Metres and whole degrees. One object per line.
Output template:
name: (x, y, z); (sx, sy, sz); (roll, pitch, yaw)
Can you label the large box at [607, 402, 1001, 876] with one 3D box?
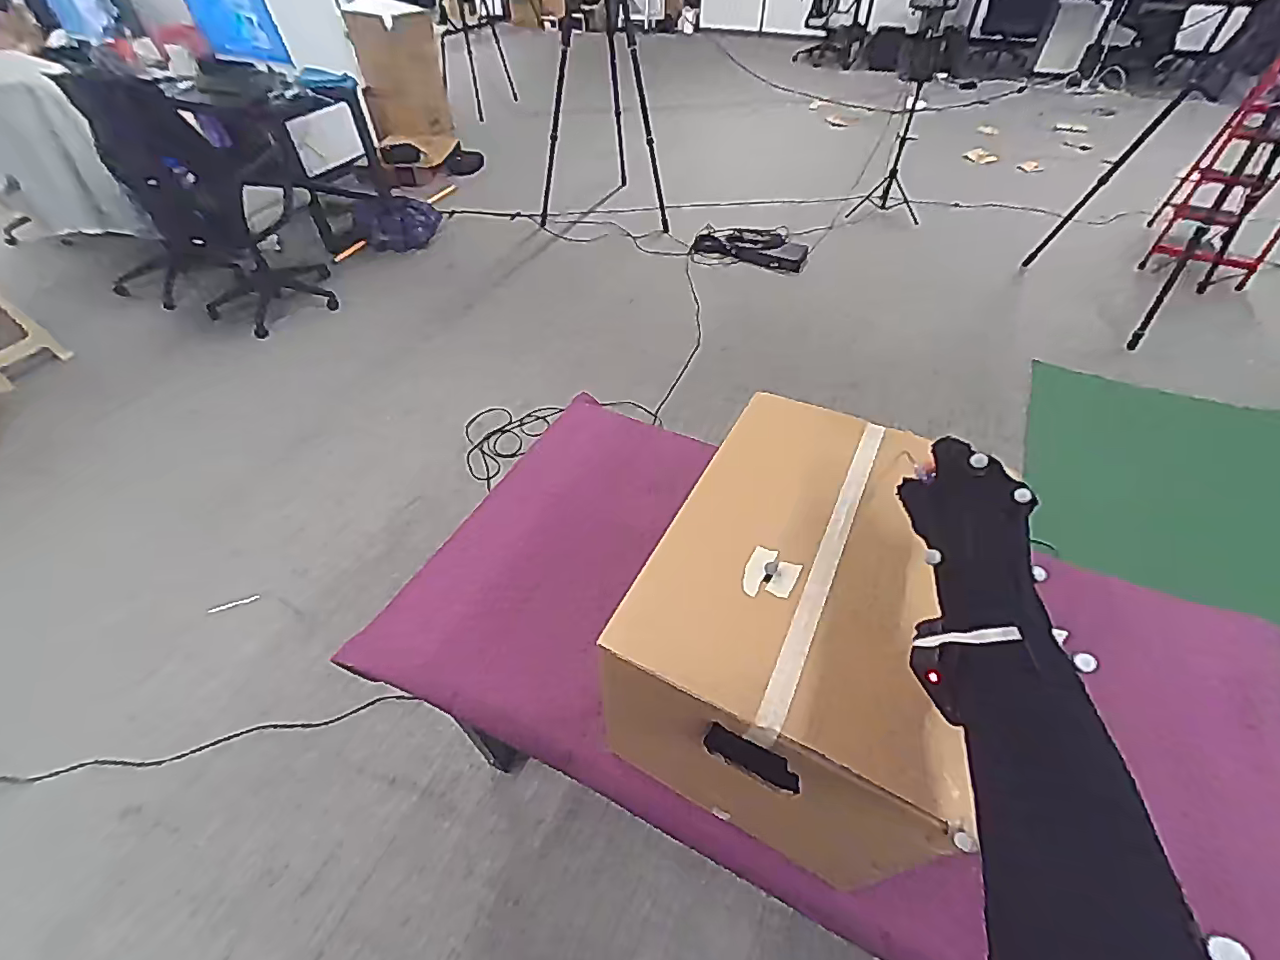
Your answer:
large box: (0.193, 0.177, 0.670); (0.320, 0.320, 0.408); (22, 52, 19)
